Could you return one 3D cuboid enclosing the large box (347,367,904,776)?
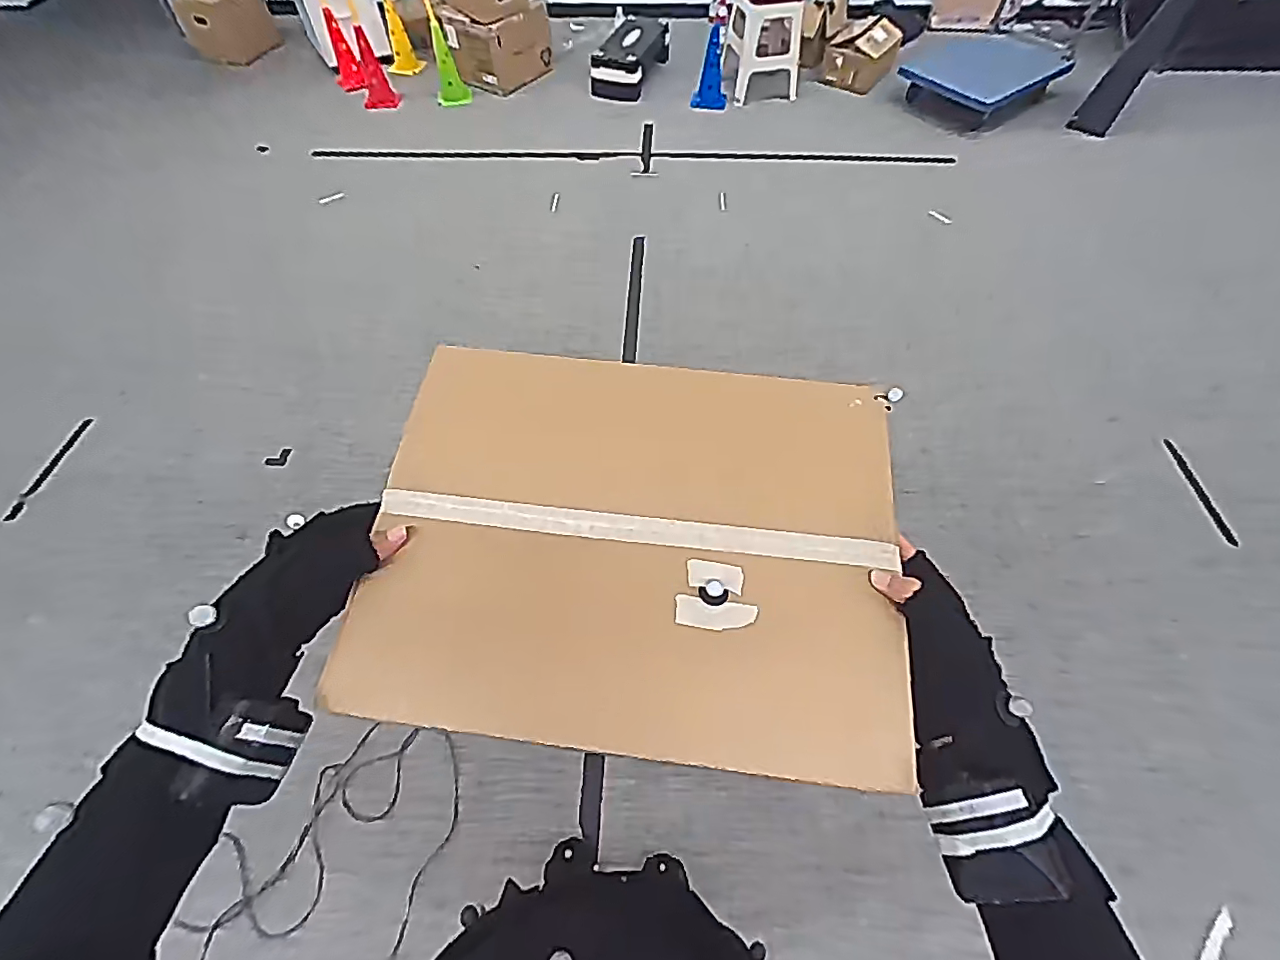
[{"bbox_3d":[0.000,0.111,0.575,0.408,0.320,0.320,6,65,4],"label":"large box"}]
